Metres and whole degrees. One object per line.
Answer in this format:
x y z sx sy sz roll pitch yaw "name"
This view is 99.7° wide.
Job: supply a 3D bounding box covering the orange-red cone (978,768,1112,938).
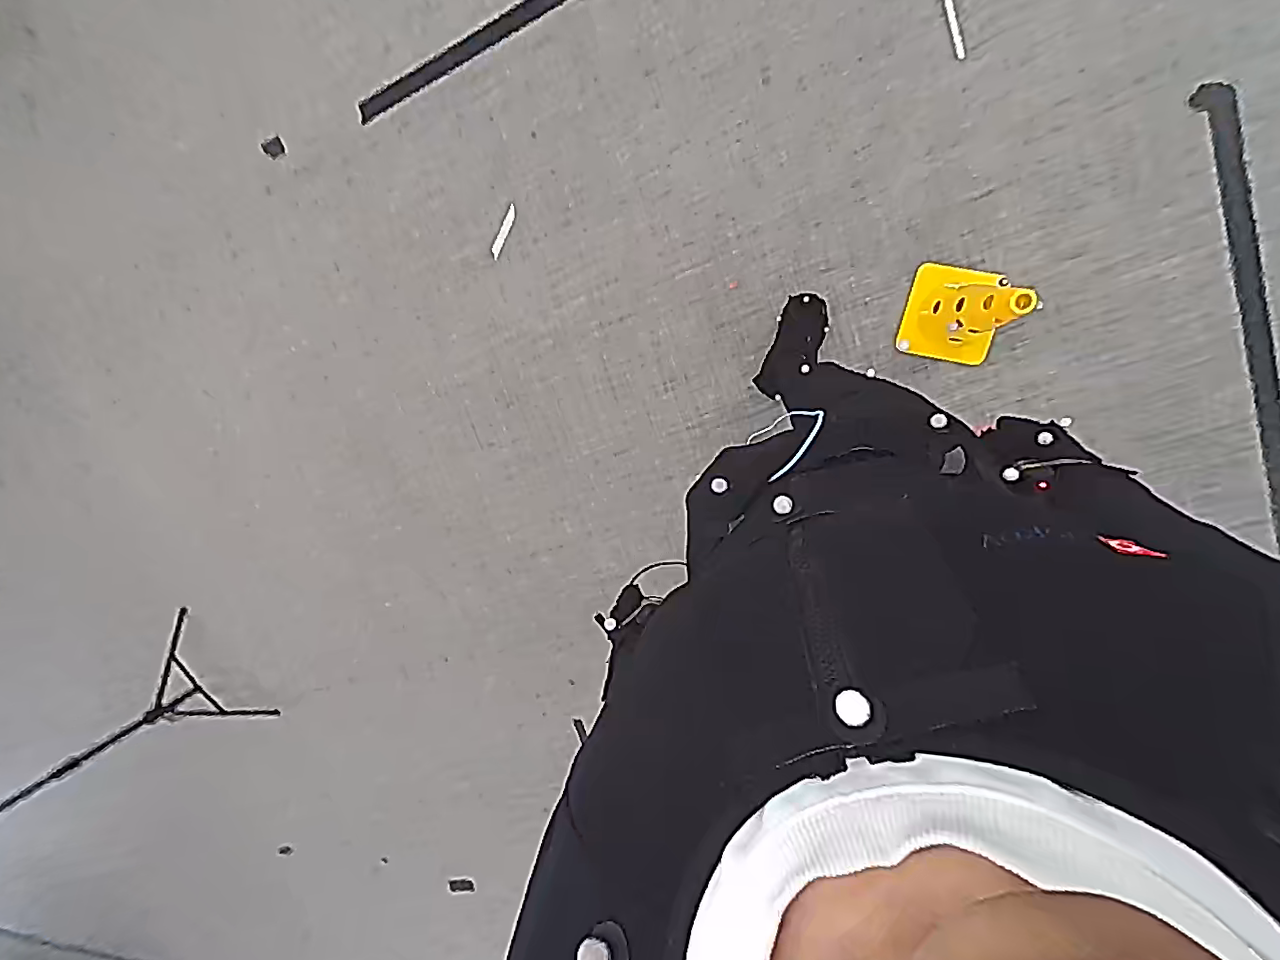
0.995 0.902 1.294 0.198 0.360 0.199 -11 99 13 "orange-red cone"
